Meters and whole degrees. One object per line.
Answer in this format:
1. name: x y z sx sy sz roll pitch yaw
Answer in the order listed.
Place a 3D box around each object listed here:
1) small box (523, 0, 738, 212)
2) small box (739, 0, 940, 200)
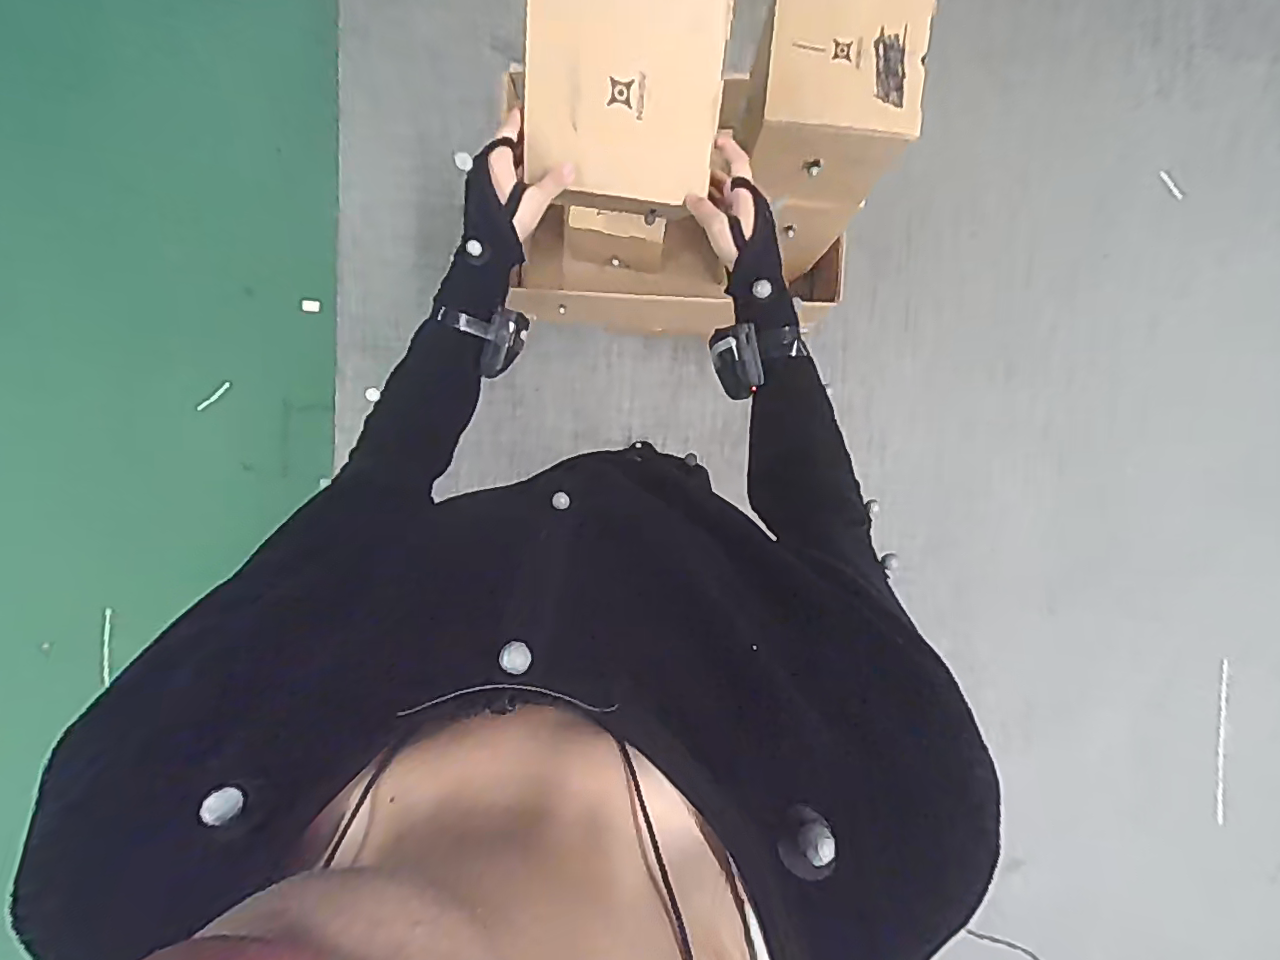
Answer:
1. small box: -0.021 -0.373 0.545 0.179 0.176 0.168 3 113 -9
2. small box: 0.231 -0.469 0.666 0.179 0.176 0.168 6 93 1
